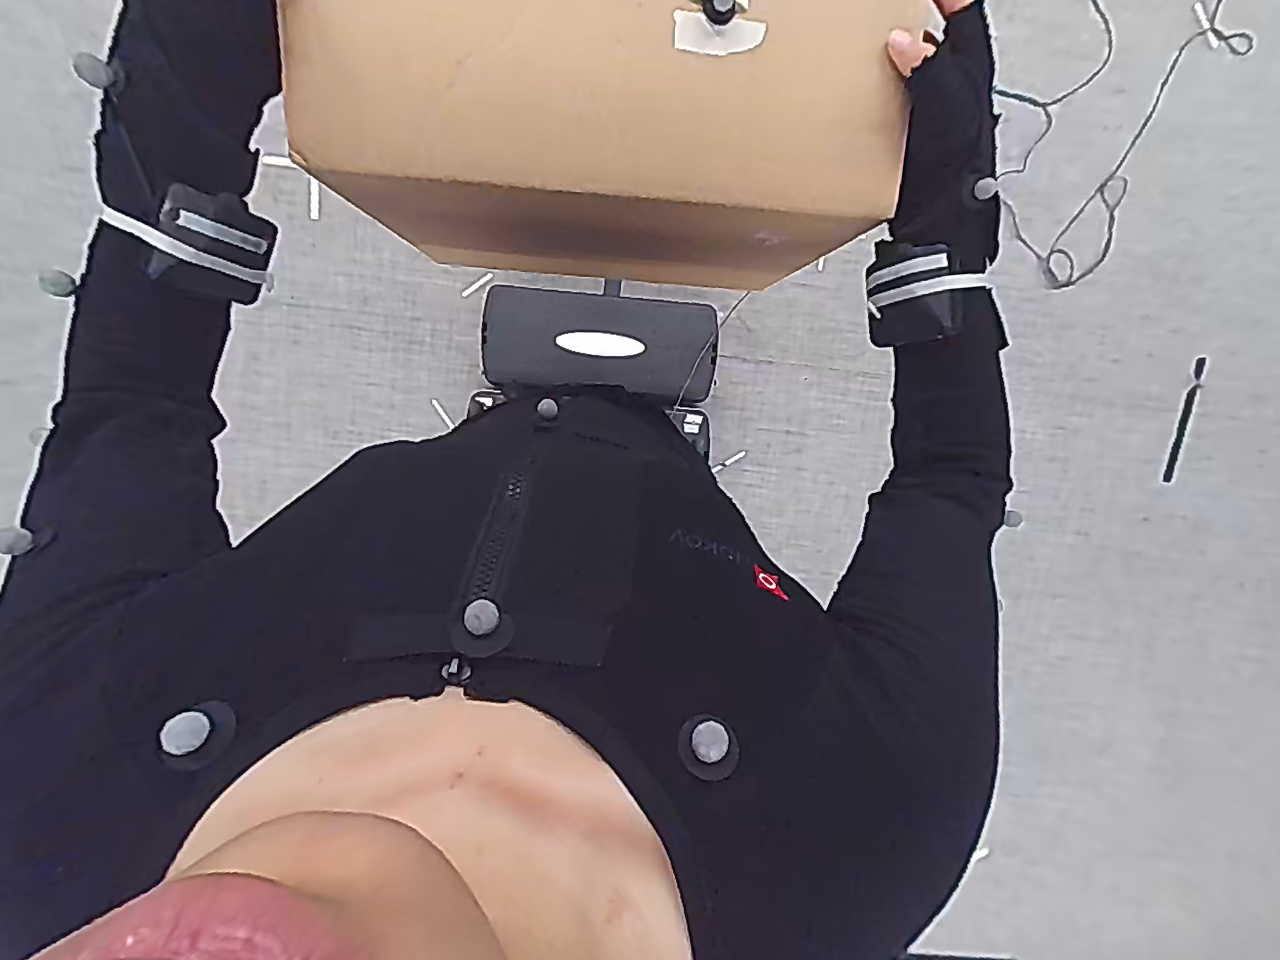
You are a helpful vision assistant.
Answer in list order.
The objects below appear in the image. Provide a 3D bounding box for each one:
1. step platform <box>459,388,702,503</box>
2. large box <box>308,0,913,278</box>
[{"bbox_3d":[-0.164,-0.099,1.558,0.684,0.204,0.286,4,98,-2],"label":"step platform"},{"bbox_3d":[-0.023,-0.380,0.493,0.408,0.320,0.320,2,101,-5],"label":"large box"}]
